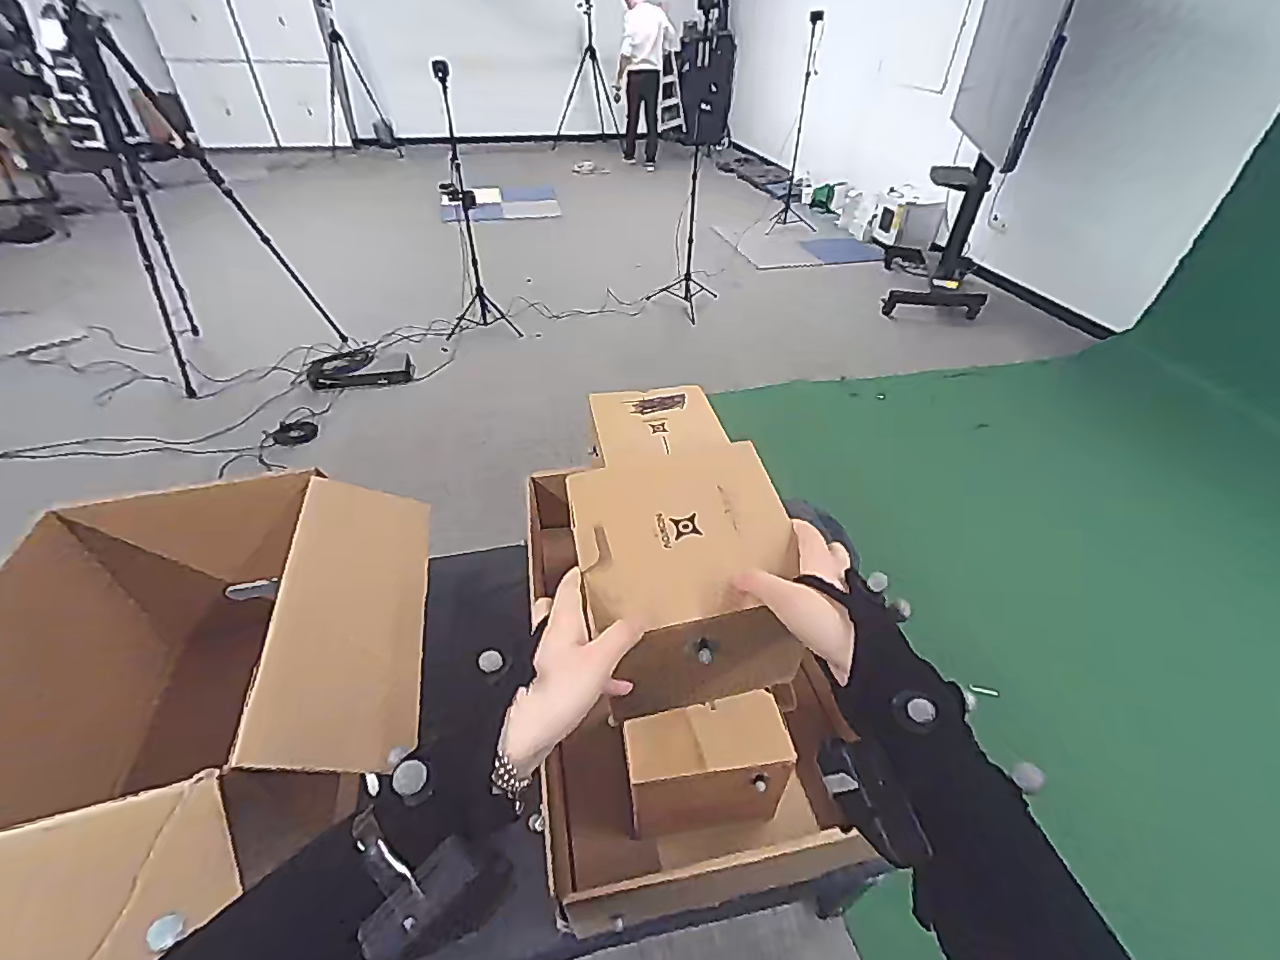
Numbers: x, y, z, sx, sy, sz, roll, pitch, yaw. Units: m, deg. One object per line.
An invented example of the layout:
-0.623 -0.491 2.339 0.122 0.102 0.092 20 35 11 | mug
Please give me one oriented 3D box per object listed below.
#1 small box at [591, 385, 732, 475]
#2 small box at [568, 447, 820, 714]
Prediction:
0.021 -0.014 0.767 0.168 0.176 0.179 -7 44 -10 | small box
0.039 0.097 0.503 0.179 0.176 0.168 -11 49 -6 | small box
